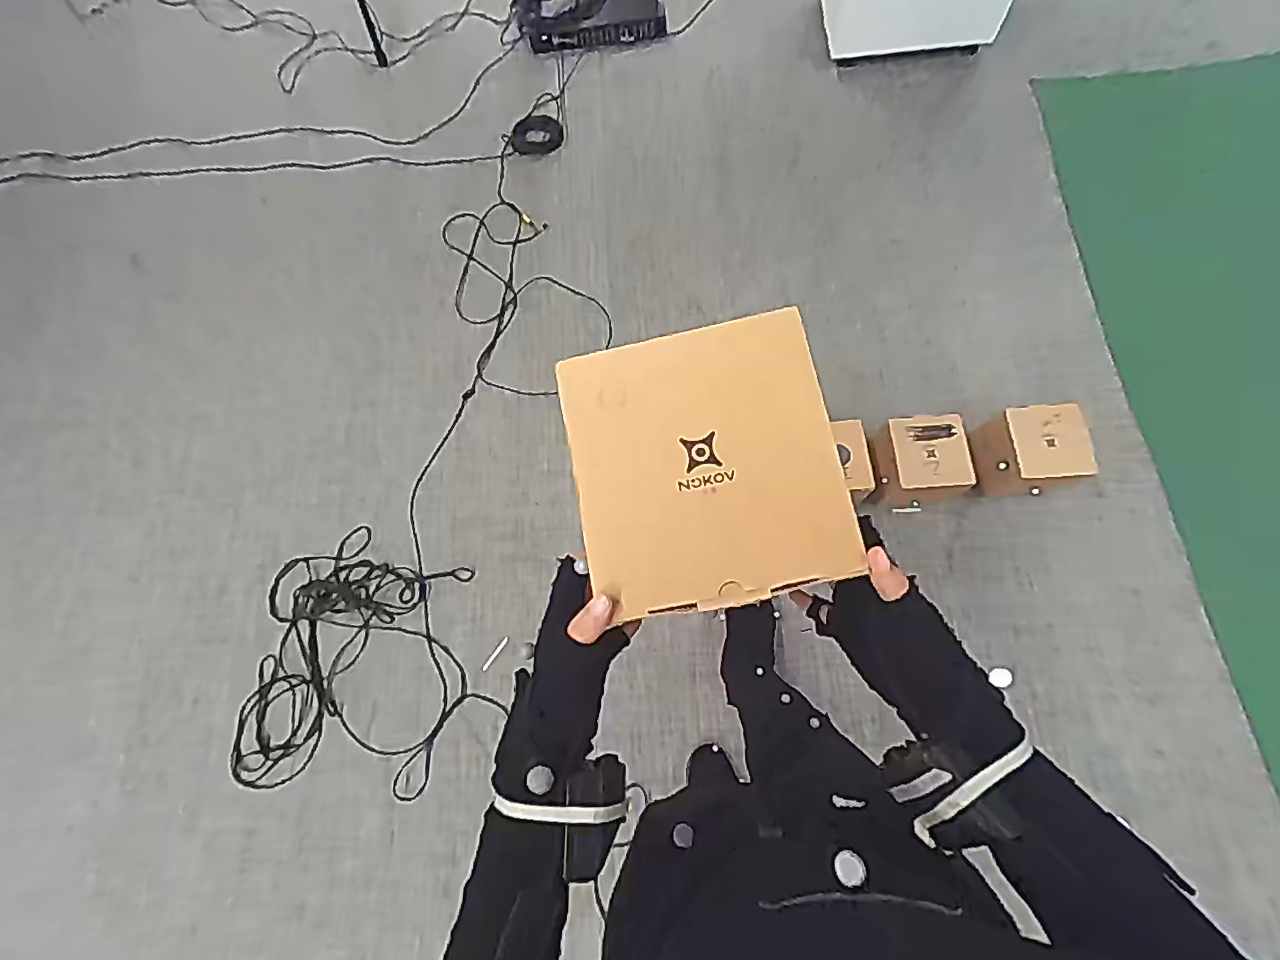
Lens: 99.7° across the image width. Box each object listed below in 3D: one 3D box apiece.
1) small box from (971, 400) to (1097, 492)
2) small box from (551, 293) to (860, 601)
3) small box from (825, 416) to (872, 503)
[{"bbox_3d":[0.928,-0.074,1.292,0.168,0.176,0.179,-4,73,4],"label":"small box"},{"bbox_3d":[0.042,-0.008,0.416,0.168,0.176,0.179,-13,78,4],"label":"small box"},{"bbox_3d":[0.450,-0.039,1.326,0.168,0.176,0.179,-5,71,5],"label":"small box"}]
